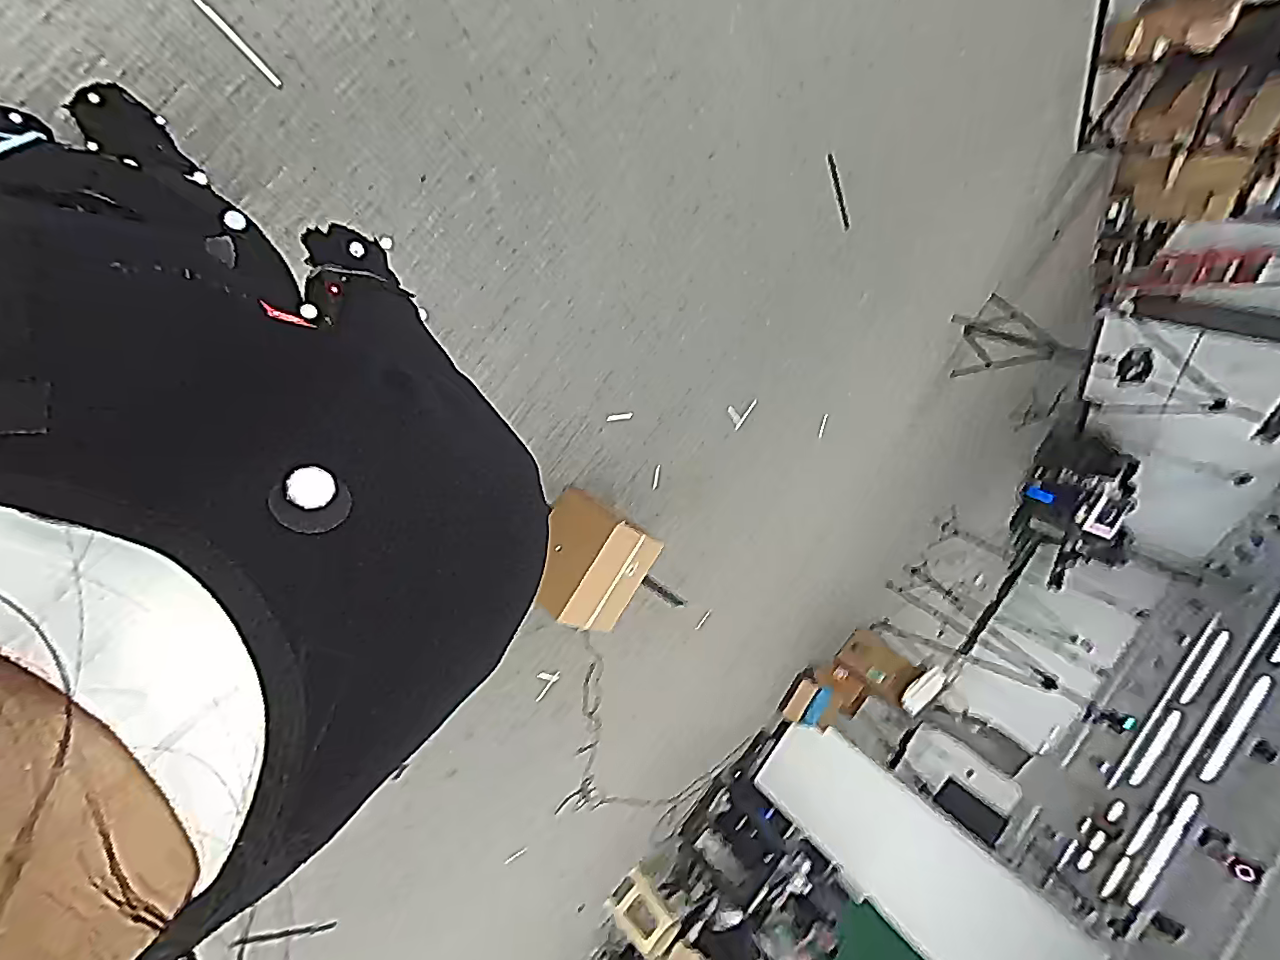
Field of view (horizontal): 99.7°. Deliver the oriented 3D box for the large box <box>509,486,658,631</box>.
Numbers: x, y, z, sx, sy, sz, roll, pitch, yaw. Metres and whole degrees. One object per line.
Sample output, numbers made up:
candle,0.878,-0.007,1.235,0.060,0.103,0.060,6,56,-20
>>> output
large box,-0.214,0.296,2.015,0.320,0.320,0.408,32,89,-52
